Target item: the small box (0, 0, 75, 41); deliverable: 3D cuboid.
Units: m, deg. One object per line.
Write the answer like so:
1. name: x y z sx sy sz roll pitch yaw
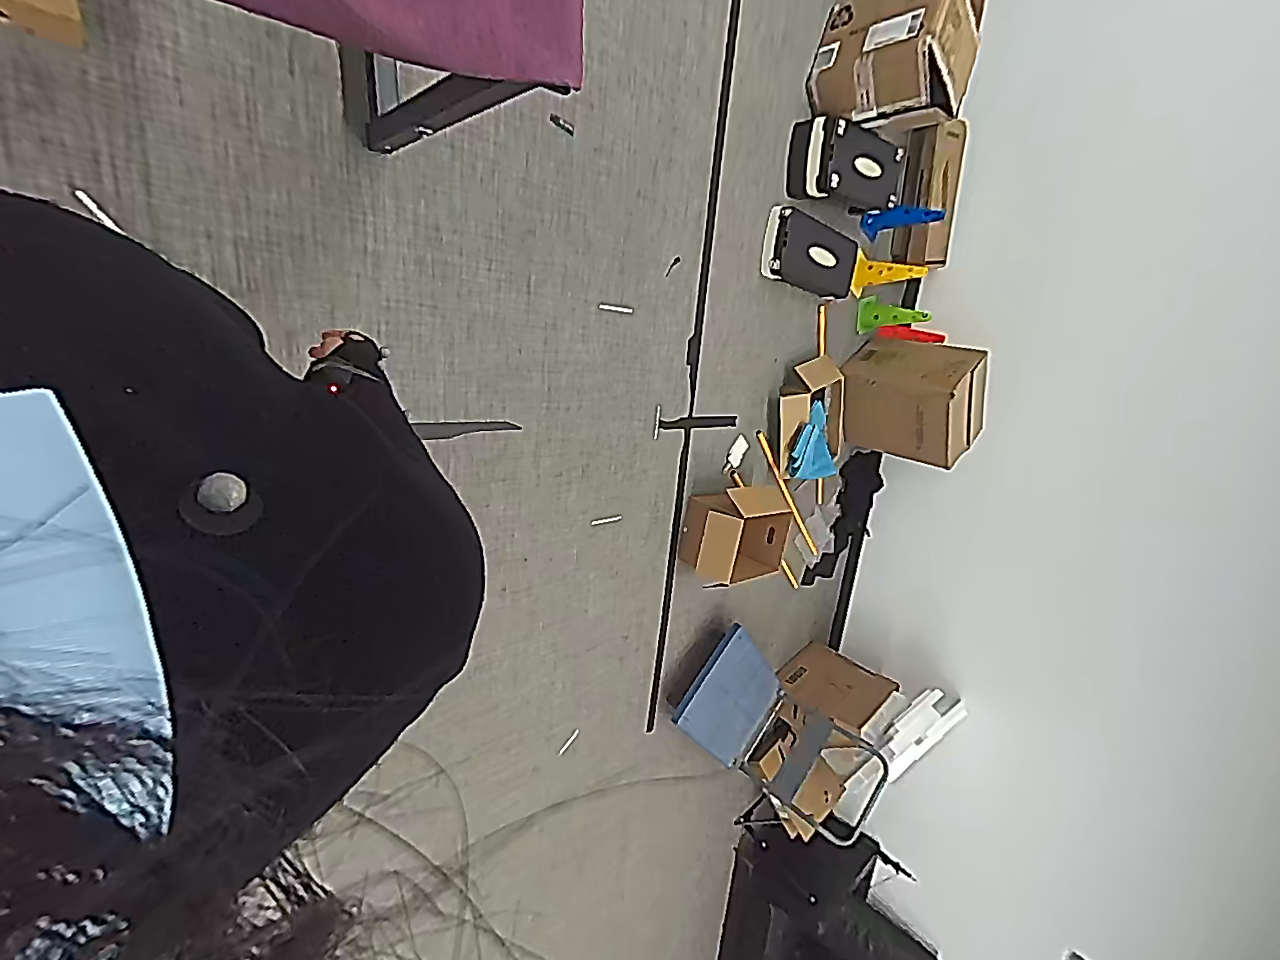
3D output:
1. small box: -0.980 -0.810 0.813 0.168 0.176 0.179 -8 110 -44
